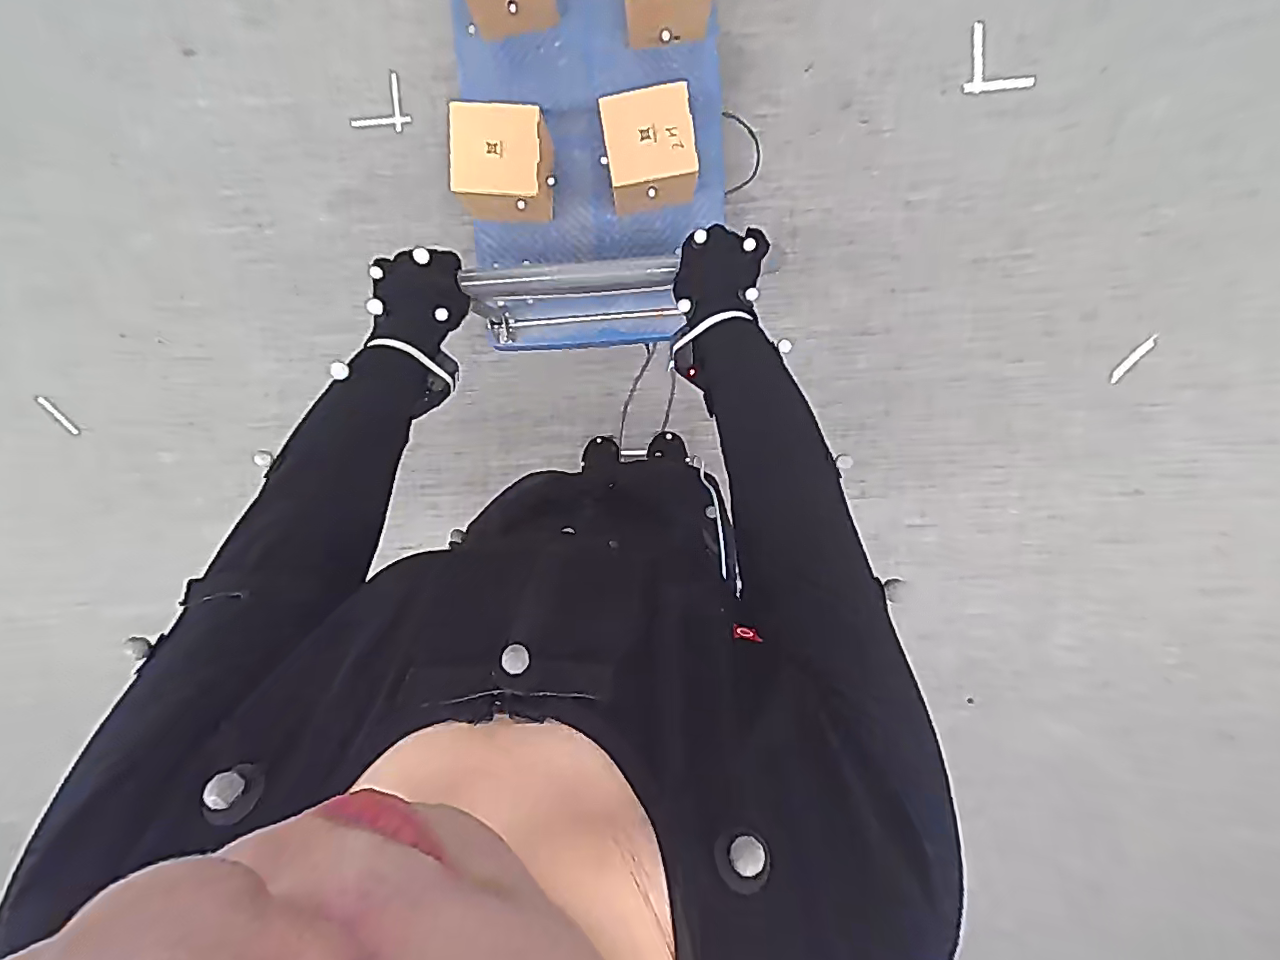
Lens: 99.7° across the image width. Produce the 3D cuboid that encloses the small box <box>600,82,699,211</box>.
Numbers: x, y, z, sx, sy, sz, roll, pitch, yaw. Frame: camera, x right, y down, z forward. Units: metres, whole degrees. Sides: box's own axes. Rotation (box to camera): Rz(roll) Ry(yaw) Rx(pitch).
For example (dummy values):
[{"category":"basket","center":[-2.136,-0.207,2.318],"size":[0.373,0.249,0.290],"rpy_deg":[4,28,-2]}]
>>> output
[{"category":"small box","center":[0.022,-0.689,1.137],"size":[0.179,0.176,0.168],"rpy_deg":[-9,98,2]}]

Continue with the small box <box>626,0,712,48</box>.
[{"category":"small box","center":[0.051,-1.025,1.089],"size":[0.168,0.176,0.179],"rpy_deg":[-7,99,2]}]

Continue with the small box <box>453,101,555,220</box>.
[{"category":"small box","center":[-0.281,-0.666,1.145],"size":[0.179,0.176,0.168],"rpy_deg":[2,98,-1]}]
